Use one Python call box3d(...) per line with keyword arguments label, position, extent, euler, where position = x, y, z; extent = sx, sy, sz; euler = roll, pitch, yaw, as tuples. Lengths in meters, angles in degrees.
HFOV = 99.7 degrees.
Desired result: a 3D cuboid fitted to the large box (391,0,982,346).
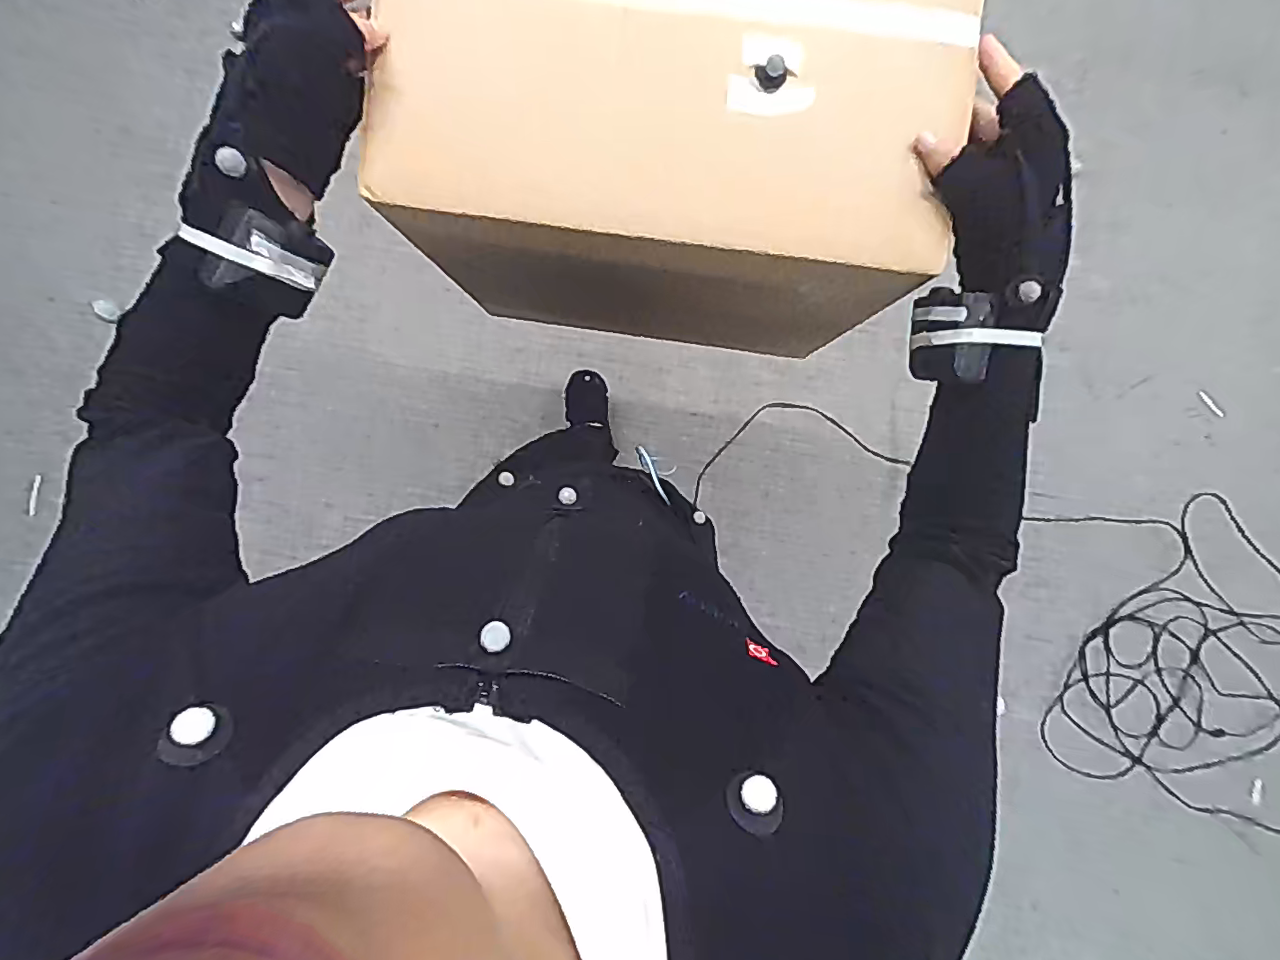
box3d(label="large box", position=(0.034, -0.333, 0.524), extent=(0.408, 0.320, 0.320), euler=(7, 93, -1))
